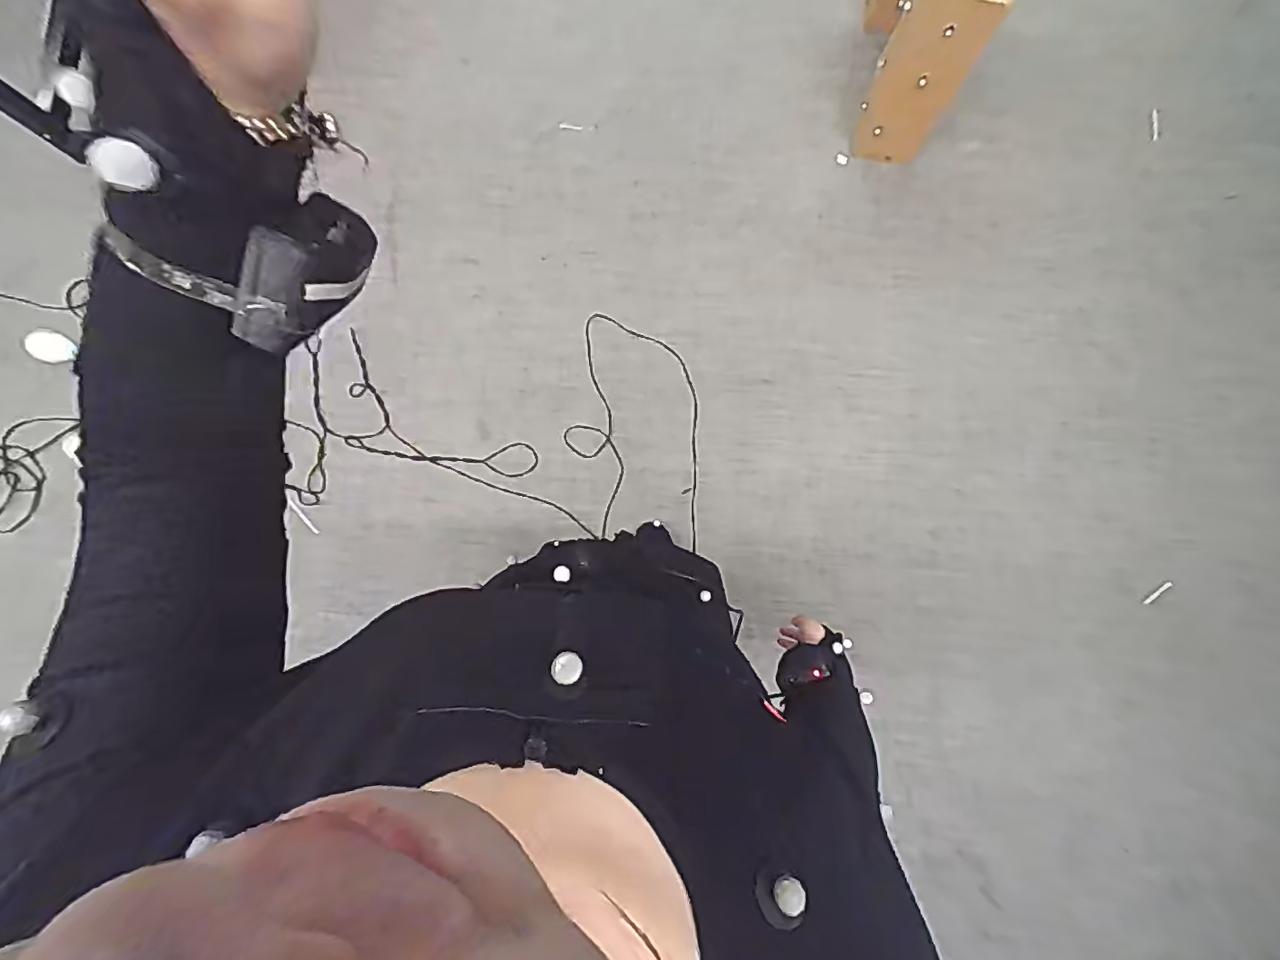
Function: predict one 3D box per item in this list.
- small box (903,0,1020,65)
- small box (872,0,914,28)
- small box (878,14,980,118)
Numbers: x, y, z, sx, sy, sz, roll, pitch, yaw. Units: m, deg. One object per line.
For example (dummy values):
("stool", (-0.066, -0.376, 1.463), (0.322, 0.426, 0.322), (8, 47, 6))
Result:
("small box", (0.728, -1.083, 1.214), (0.179, 0.176, 0.168), (13, 85, 3))
("small box", (0.800, -1.467, 1.578), (0.179, 0.176, 0.168), (8, 85, 2))
("small box", (0.738, -1.067, 1.377), (0.179, 0.176, 0.168), (11, 85, 2))
